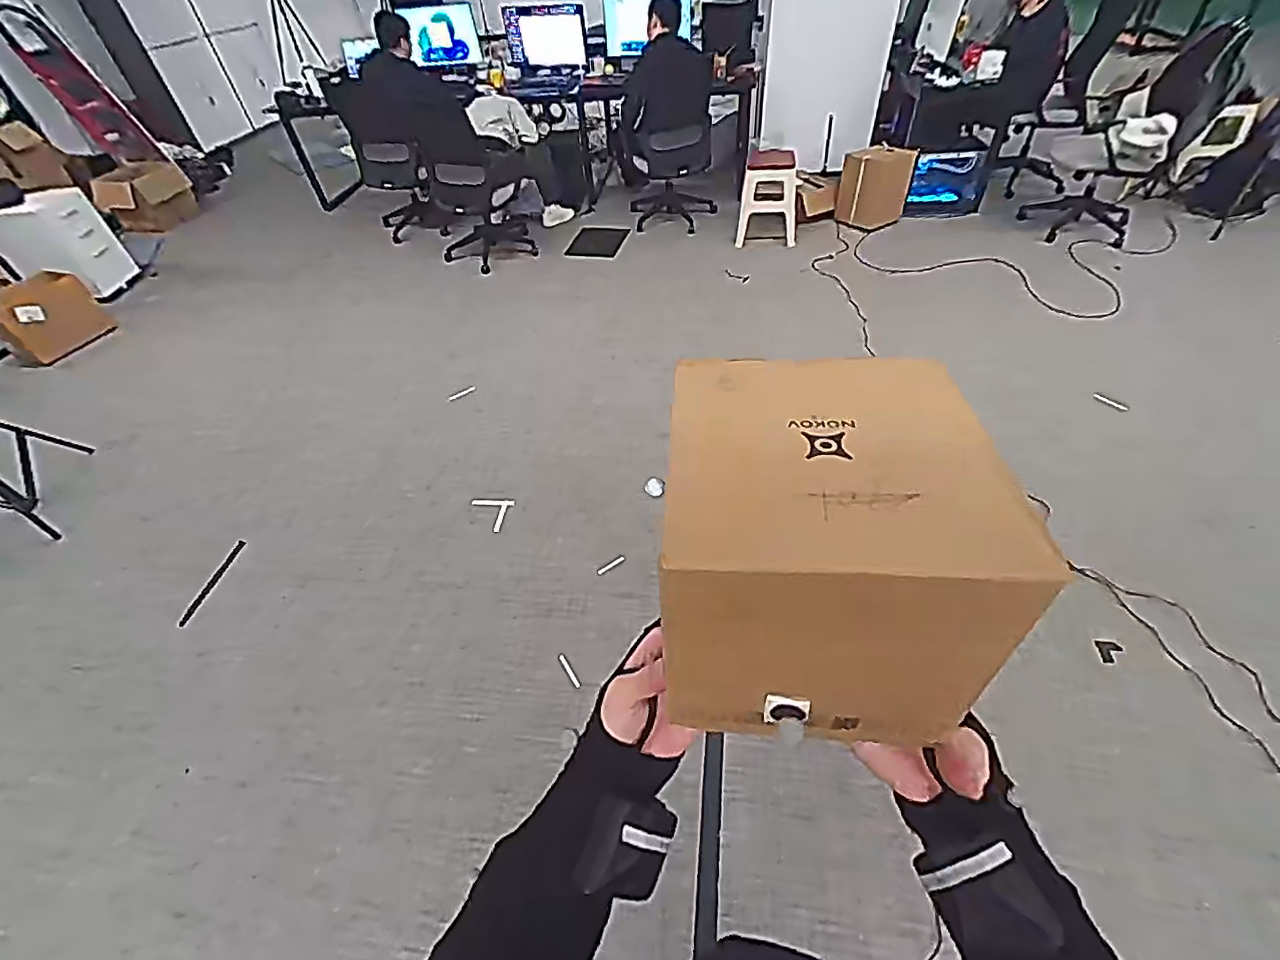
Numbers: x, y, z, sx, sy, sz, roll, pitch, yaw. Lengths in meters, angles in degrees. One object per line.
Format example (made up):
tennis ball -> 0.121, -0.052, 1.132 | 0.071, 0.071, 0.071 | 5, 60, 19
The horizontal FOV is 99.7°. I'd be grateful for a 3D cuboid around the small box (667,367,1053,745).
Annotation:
small box -> 0.105, 0.044, 0.349 | 0.168, 0.176, 0.179 | 0, 43, 6
